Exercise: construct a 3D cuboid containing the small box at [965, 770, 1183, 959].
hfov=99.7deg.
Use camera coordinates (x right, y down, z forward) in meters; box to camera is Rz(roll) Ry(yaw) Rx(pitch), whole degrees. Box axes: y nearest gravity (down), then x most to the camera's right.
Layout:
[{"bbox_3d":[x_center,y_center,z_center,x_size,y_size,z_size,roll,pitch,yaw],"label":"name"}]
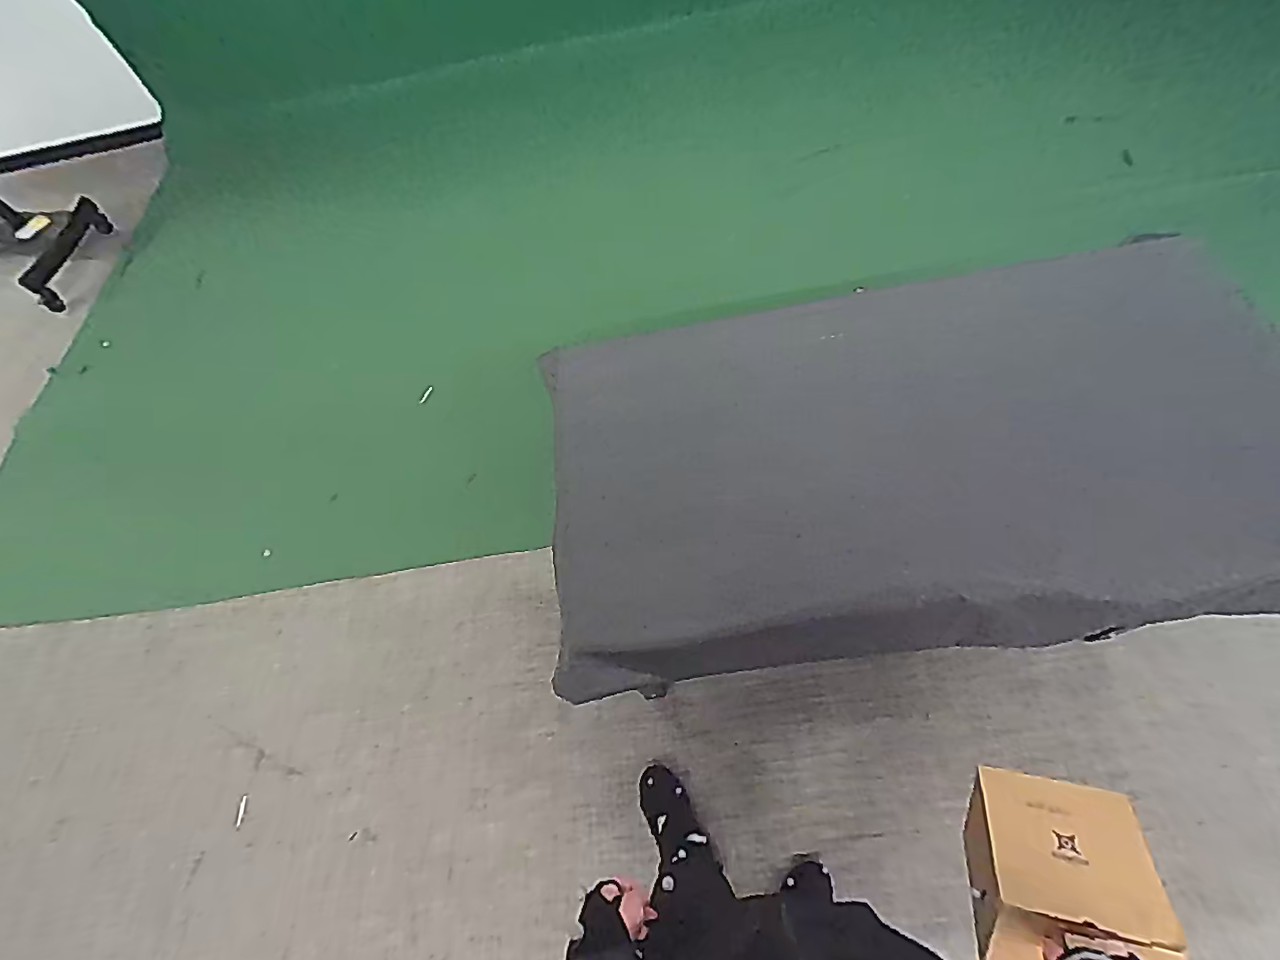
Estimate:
[{"bbox_3d":[0.523,0.516,0.684,0.168,0.176,0.179,3,28,22],"label":"small box"}]
